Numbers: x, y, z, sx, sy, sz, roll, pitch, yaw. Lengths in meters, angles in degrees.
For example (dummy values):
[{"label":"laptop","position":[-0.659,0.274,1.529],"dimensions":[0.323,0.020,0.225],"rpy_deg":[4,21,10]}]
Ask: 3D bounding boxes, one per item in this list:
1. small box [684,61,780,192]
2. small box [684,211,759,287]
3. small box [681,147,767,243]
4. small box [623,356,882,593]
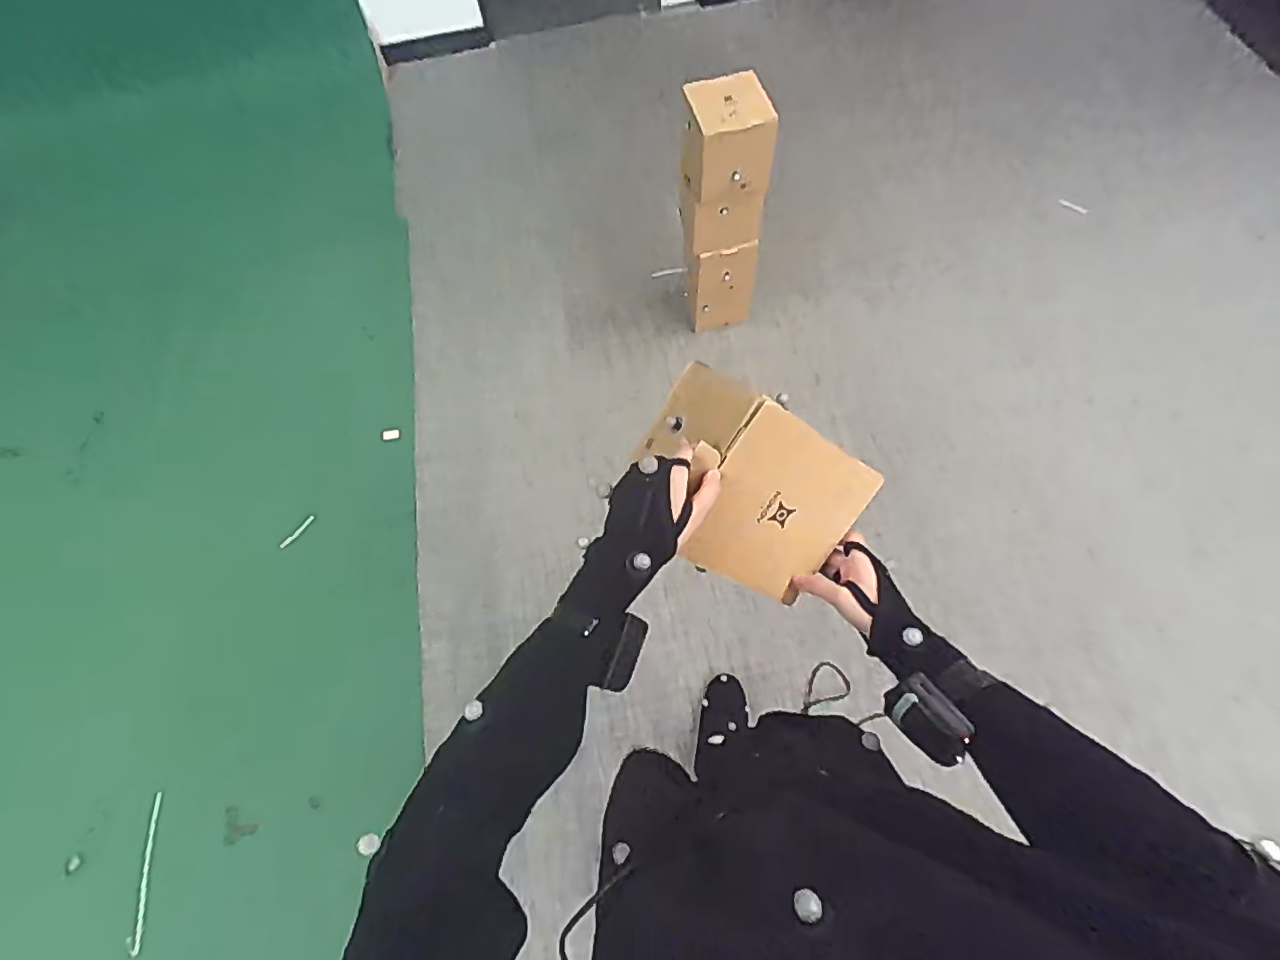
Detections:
[{"label":"small box","position":[0.199,-0.796,1.226],"dimensions":[0.168,0.176,0.179],"rpy_deg":[-14,68,-2]},{"label":"small box","position":[0.224,-0.669,1.529],"dimensions":[0.168,0.176,0.179],"rpy_deg":[-13,68,-2]},{"label":"small box","position":[0.206,-0.735,1.379],"dimensions":[0.179,0.176,0.168],"rpy_deg":[-12,68,-2]},{"label":"small box","position":[0.107,-0.014,0.581],"dimensions":[0.179,0.176,0.168],"rpy_deg":[27,104,-25]}]
